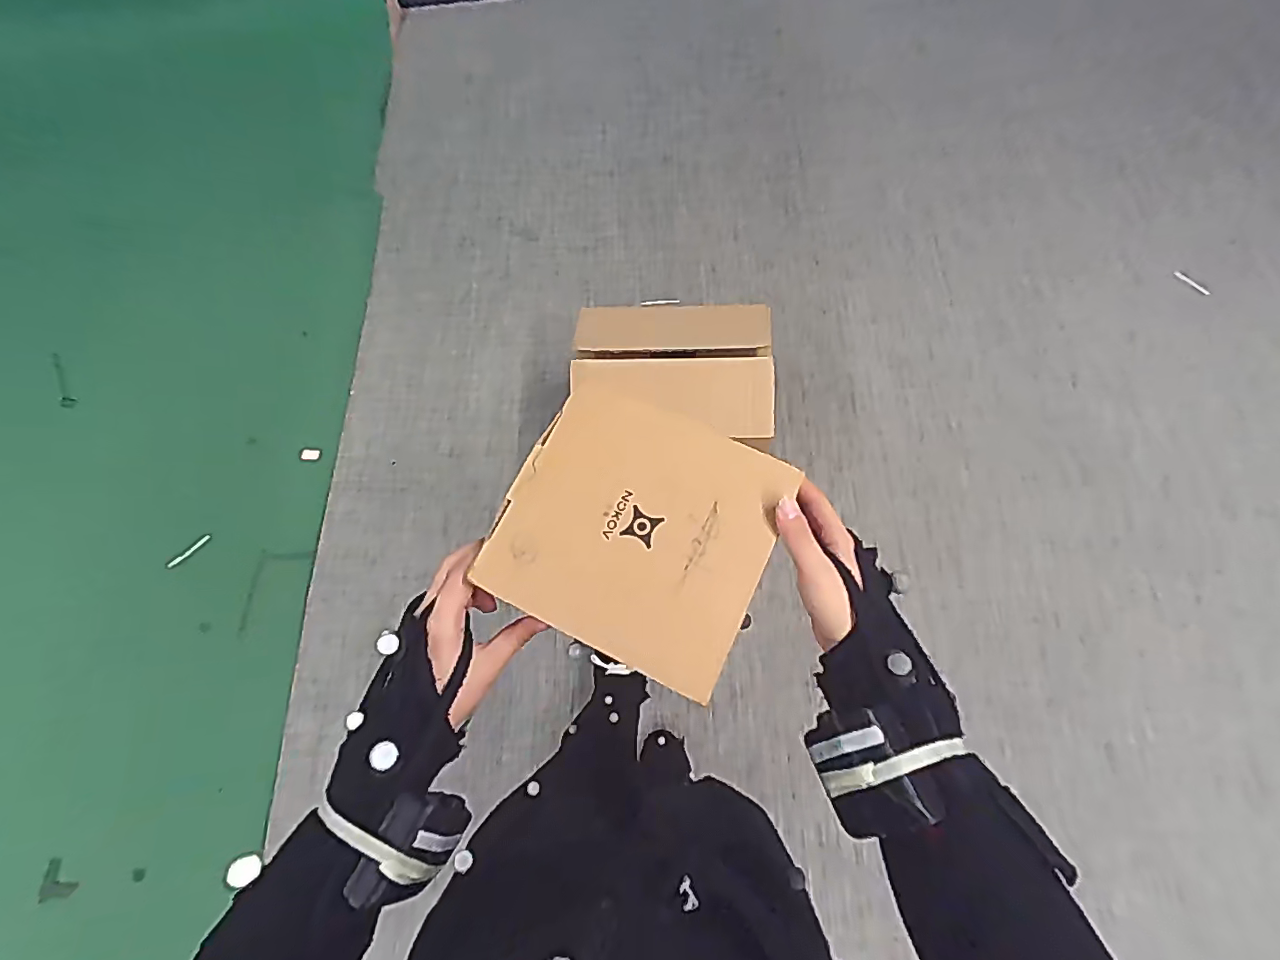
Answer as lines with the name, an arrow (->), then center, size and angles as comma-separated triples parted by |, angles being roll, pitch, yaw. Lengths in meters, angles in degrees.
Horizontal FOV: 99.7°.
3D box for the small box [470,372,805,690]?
small box -> 0.003, 0.048, 0.434 | 0.179, 0.176, 0.168 | 24, 76, 9
